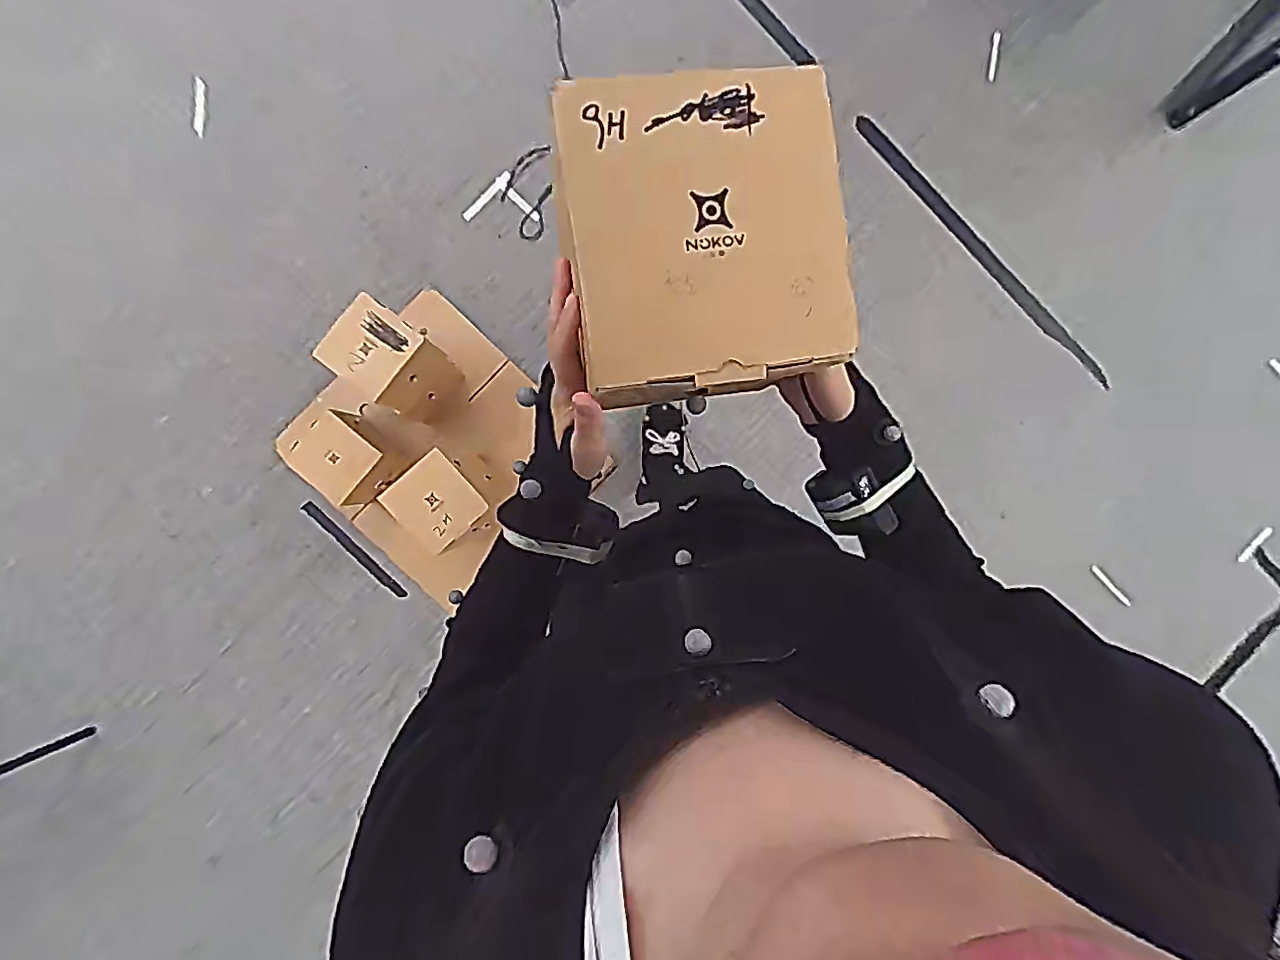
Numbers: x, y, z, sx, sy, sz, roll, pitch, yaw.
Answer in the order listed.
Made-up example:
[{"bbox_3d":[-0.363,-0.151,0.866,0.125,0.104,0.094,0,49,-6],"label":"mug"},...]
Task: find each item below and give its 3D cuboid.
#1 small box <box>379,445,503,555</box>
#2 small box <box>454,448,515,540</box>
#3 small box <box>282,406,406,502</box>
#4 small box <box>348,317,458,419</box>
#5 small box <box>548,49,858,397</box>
[{"bbox_3d":[-0.434,0.043,1.208,0.168,0.176,0.179,-41,93,-2],"label":"small box"},{"bbox_3d":[-0.444,0.040,1.372,0.168,0.176,0.179,-43,94,-2],"label":"small box"},{"bbox_3d":[-0.732,-0.061,1.358,0.179,0.176,0.168,39,90,-2],"label":"small box"},{"bbox_3d":[-0.584,-0.274,1.365,0.168,0.176,0.179,40,88,-2],"label":"small box"},{"bbox_3d":[0.031,-0.157,0.389,0.168,0.176,0.179,-9,94,-7],"label":"small box"}]
